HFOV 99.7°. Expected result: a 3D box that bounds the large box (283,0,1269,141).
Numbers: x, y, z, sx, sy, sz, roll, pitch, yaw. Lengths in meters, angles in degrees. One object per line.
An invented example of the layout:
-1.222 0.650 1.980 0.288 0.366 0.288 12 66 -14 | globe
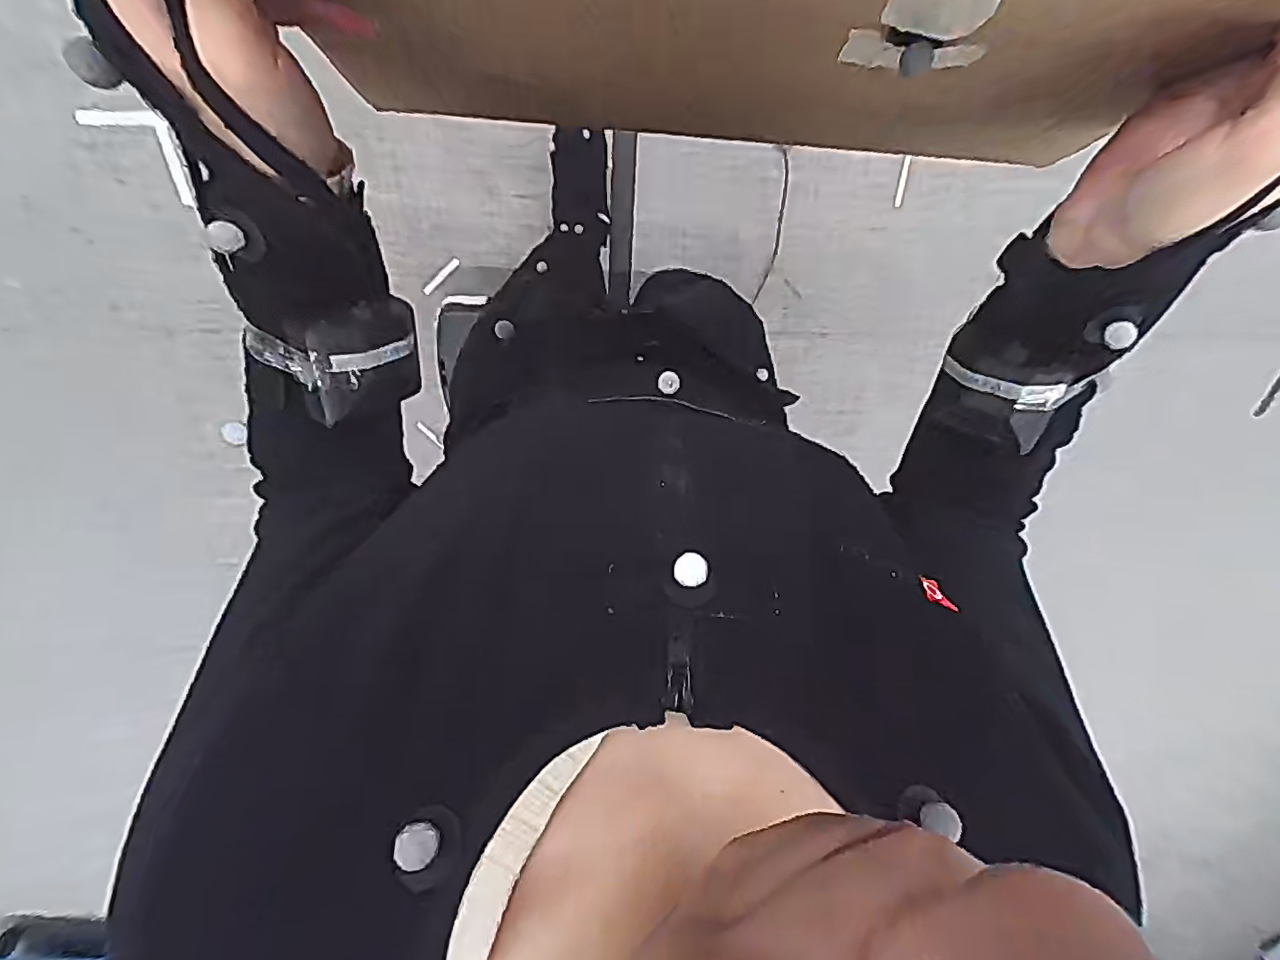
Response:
0.049 -0.341 0.153 0.408 0.320 0.320 3 99 -1 | large box
